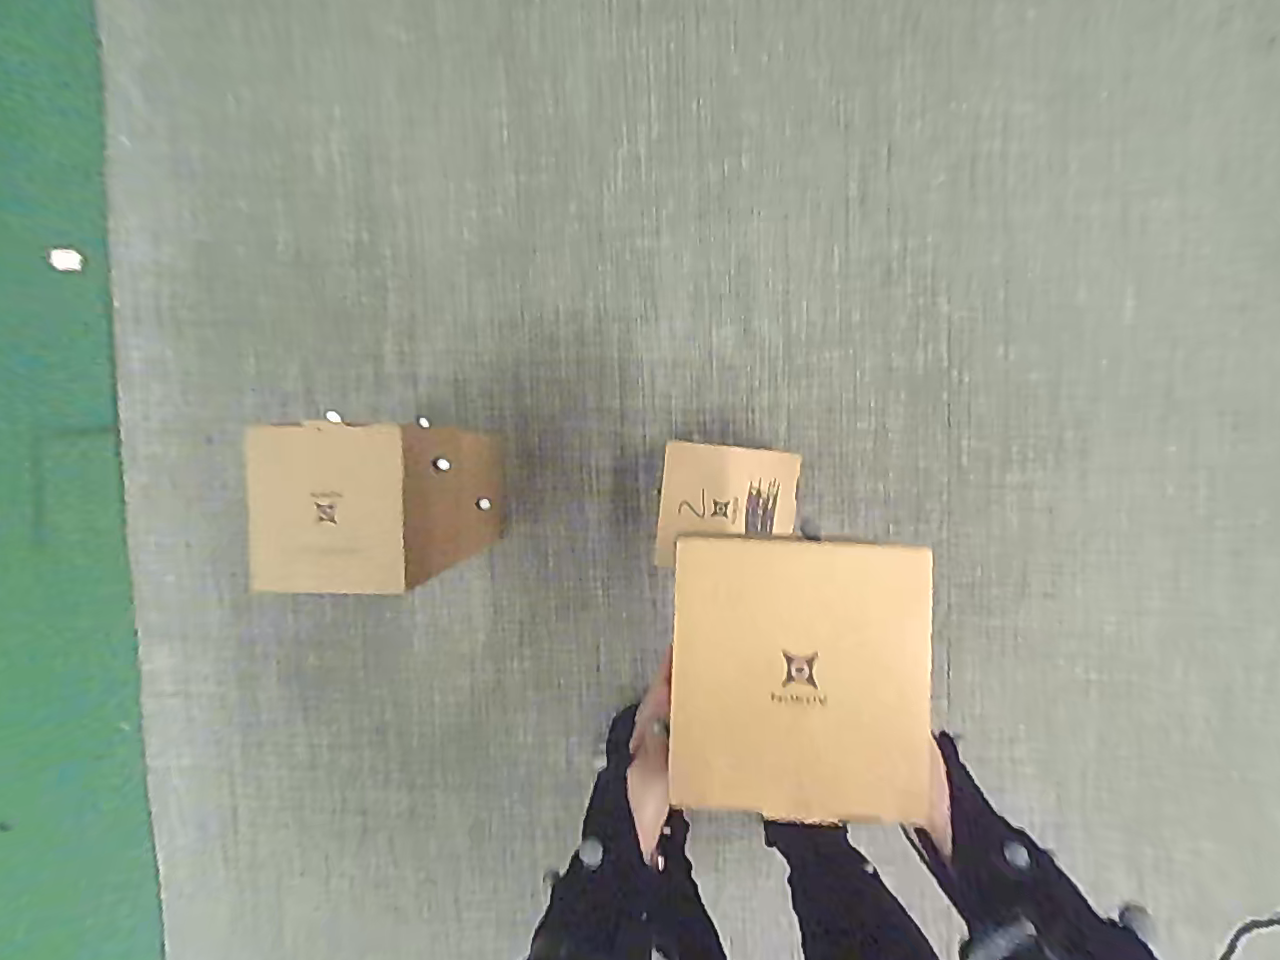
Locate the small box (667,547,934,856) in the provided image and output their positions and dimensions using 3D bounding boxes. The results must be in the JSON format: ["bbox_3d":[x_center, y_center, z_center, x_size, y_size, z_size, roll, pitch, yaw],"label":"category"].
[{"bbox_3d":[0.106,0.147,0.422,0.168,0.176,0.179,1,89,4],"label":"small box"}]

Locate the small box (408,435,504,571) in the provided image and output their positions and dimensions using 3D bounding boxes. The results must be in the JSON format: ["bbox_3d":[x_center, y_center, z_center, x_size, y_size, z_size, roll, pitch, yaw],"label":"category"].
[{"bbox_3d":[-0.306,0.025,0.800,0.168,0.176,0.179,3,94,2],"label":"small box"}]

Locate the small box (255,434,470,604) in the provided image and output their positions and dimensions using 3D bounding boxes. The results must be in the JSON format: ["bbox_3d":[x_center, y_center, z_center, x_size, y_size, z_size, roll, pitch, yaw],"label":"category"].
[{"bbox_3d":[-0.310,0.036,0.638,0.168,0.176,0.179,0,95,4],"label":"small box"}]
